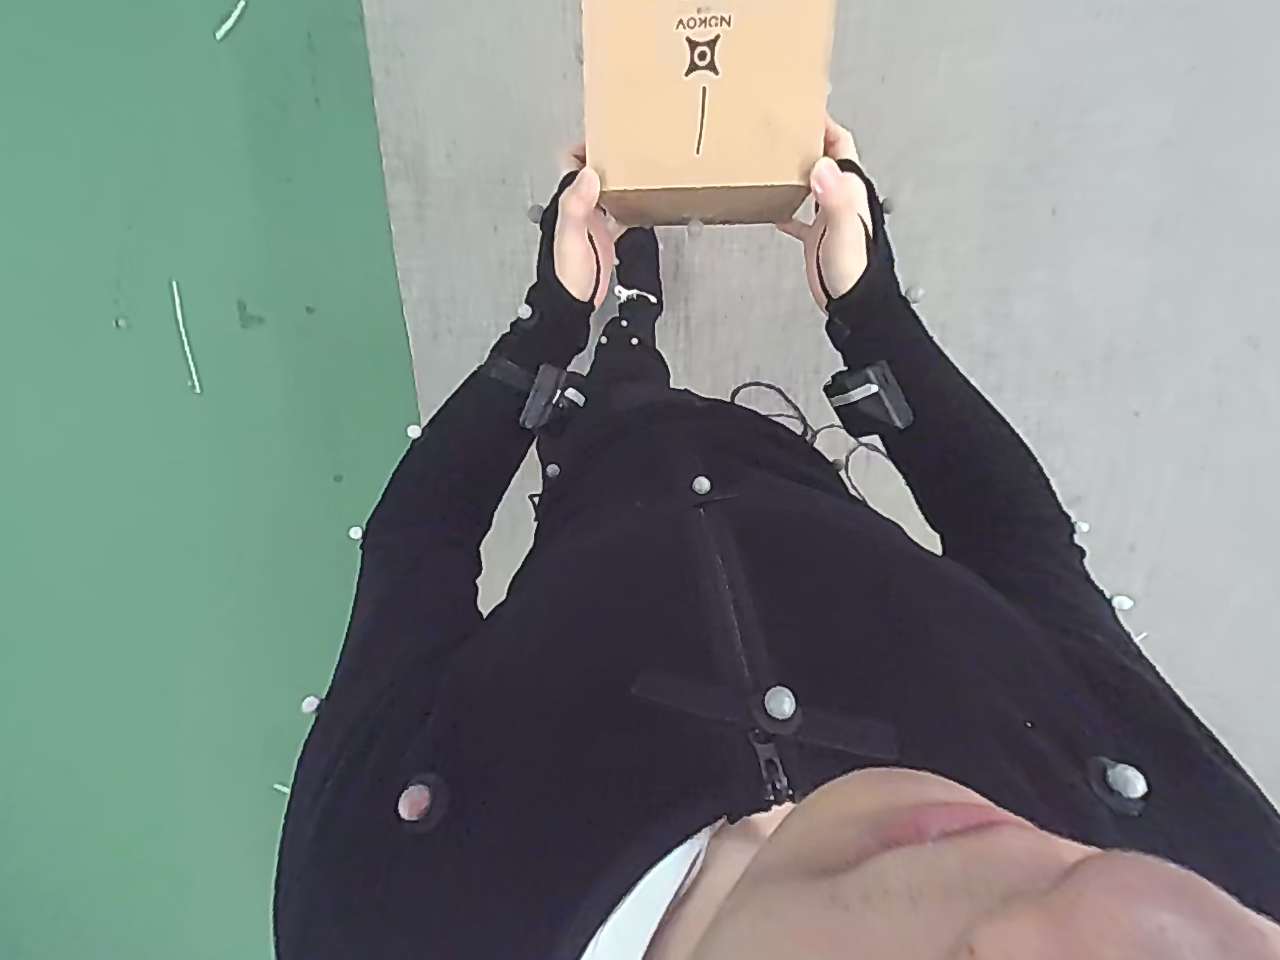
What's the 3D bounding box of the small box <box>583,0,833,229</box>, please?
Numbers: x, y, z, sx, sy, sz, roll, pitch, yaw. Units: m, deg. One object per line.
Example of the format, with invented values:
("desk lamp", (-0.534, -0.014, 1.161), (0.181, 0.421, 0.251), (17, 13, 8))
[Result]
("small box", (0.051, -0.312, 0.436), (0.168, 0.176, 0.179), (3, 107, 7))
